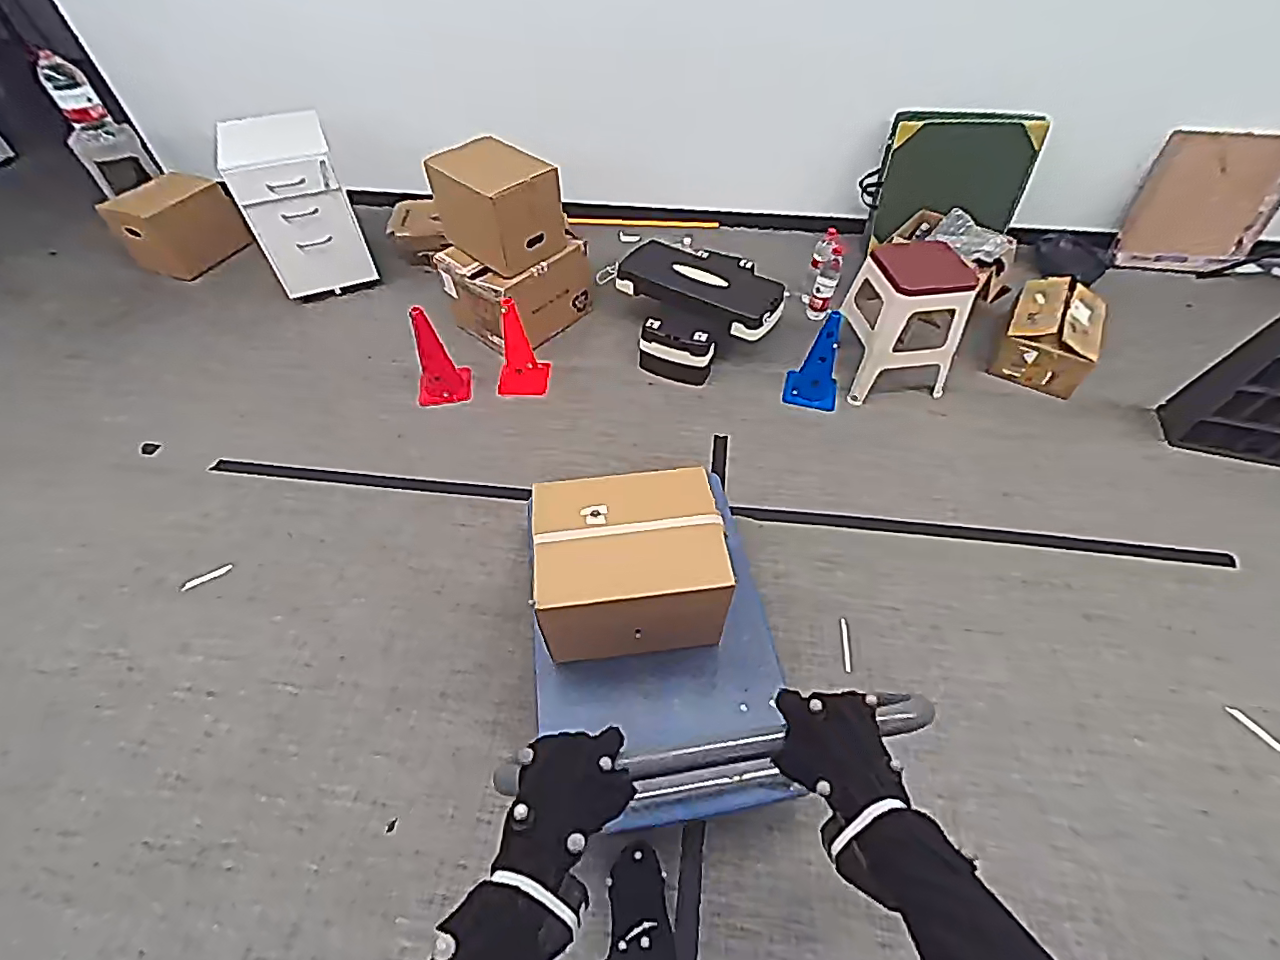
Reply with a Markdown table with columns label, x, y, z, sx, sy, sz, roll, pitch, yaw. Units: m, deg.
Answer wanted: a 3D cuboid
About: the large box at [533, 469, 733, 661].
| label | x | y | z | sx | sy | sz | roll | pitch | yaw |
| --- | --- | --- | --- | --- | --- | --- | --- | --- | --- |
| large box | -0.024 | 0.207 | 1.280 | 0.408 | 0.320 | 0.320 | -6 | 52 | -4 |
